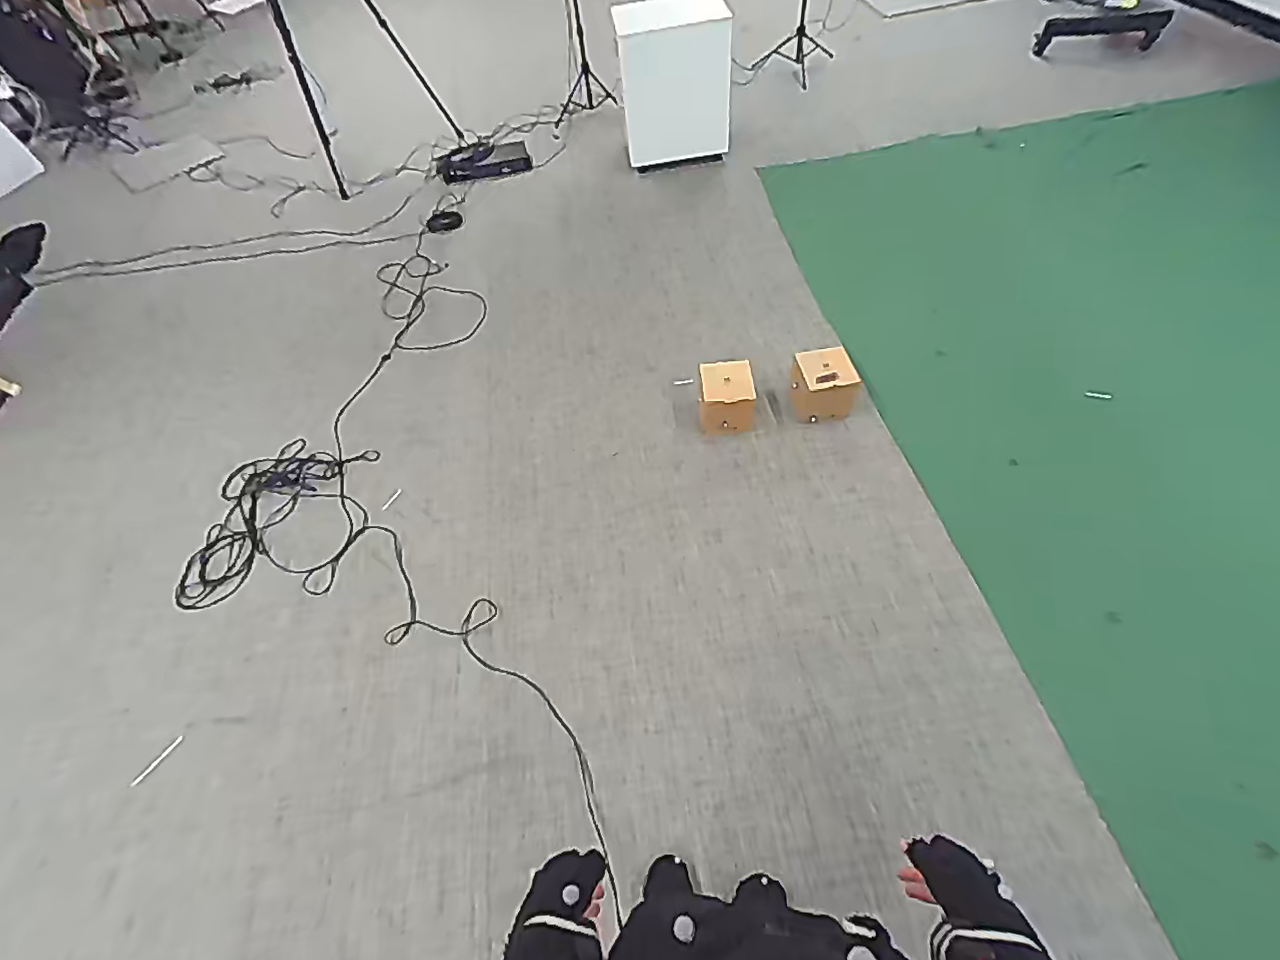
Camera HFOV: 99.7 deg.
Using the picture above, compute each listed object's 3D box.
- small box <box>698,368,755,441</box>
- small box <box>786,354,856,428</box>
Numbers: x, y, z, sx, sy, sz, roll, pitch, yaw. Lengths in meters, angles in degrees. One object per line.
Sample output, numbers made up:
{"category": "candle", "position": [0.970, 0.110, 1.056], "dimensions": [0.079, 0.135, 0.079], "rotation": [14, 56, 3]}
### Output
{"category": "small box", "position": [0.285, -0.252, 1.823], "dimensions": [0.168, 0.176, 0.179], "rotation": [-5, 55, 2]}
{"category": "small box", "position": [0.602, -0.292, 1.817], "dimensions": [0.168, 0.176, 0.179], "rotation": [-9, 54, 0]}
